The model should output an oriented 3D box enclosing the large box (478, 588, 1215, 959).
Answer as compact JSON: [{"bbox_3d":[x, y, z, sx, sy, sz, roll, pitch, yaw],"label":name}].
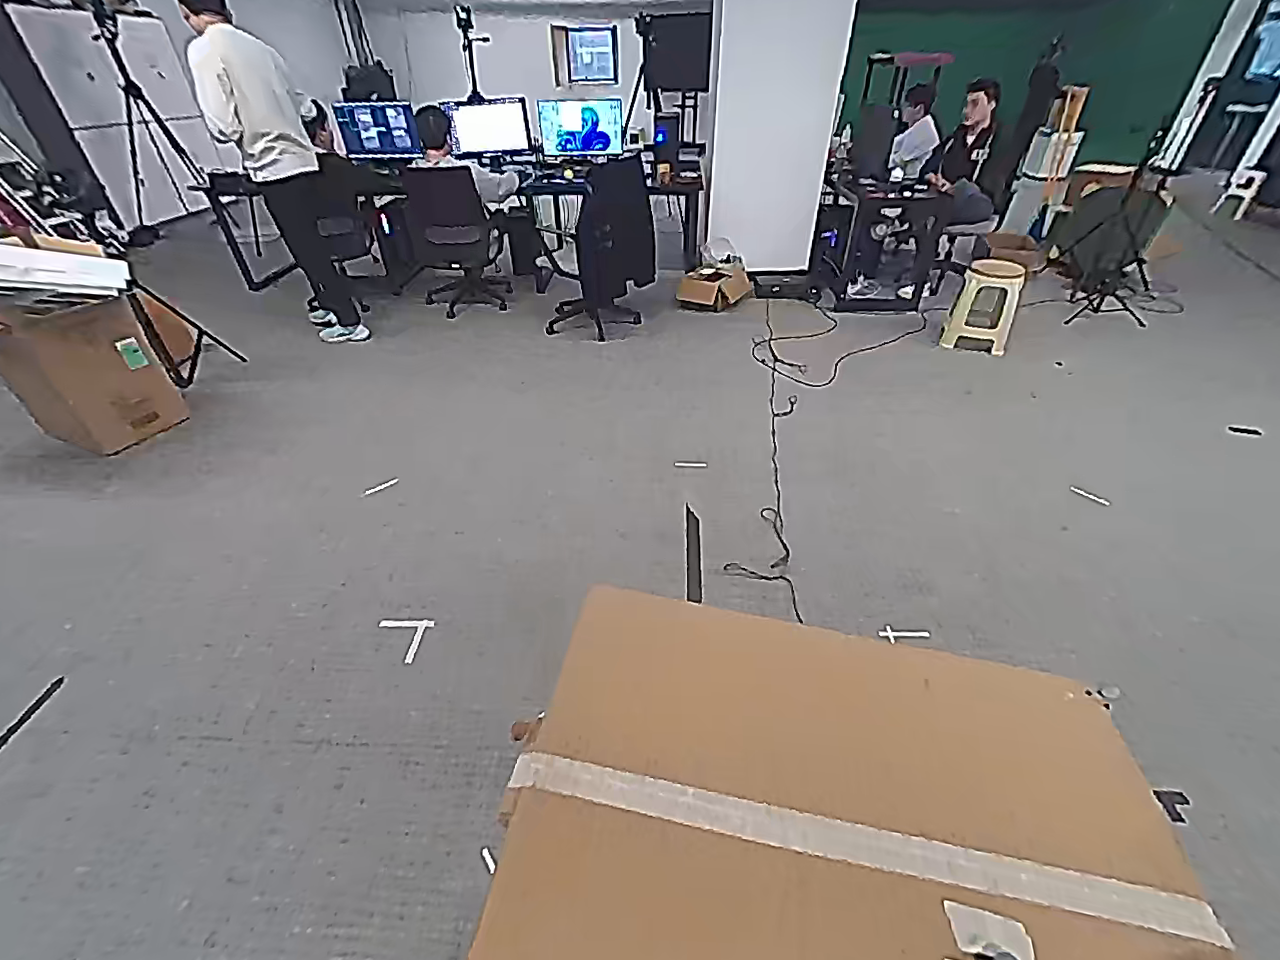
[{"bbox_3d":[0.112,0.333,0.428,0.408,0.320,0.320,11,40,5],"label":"large box"}]
